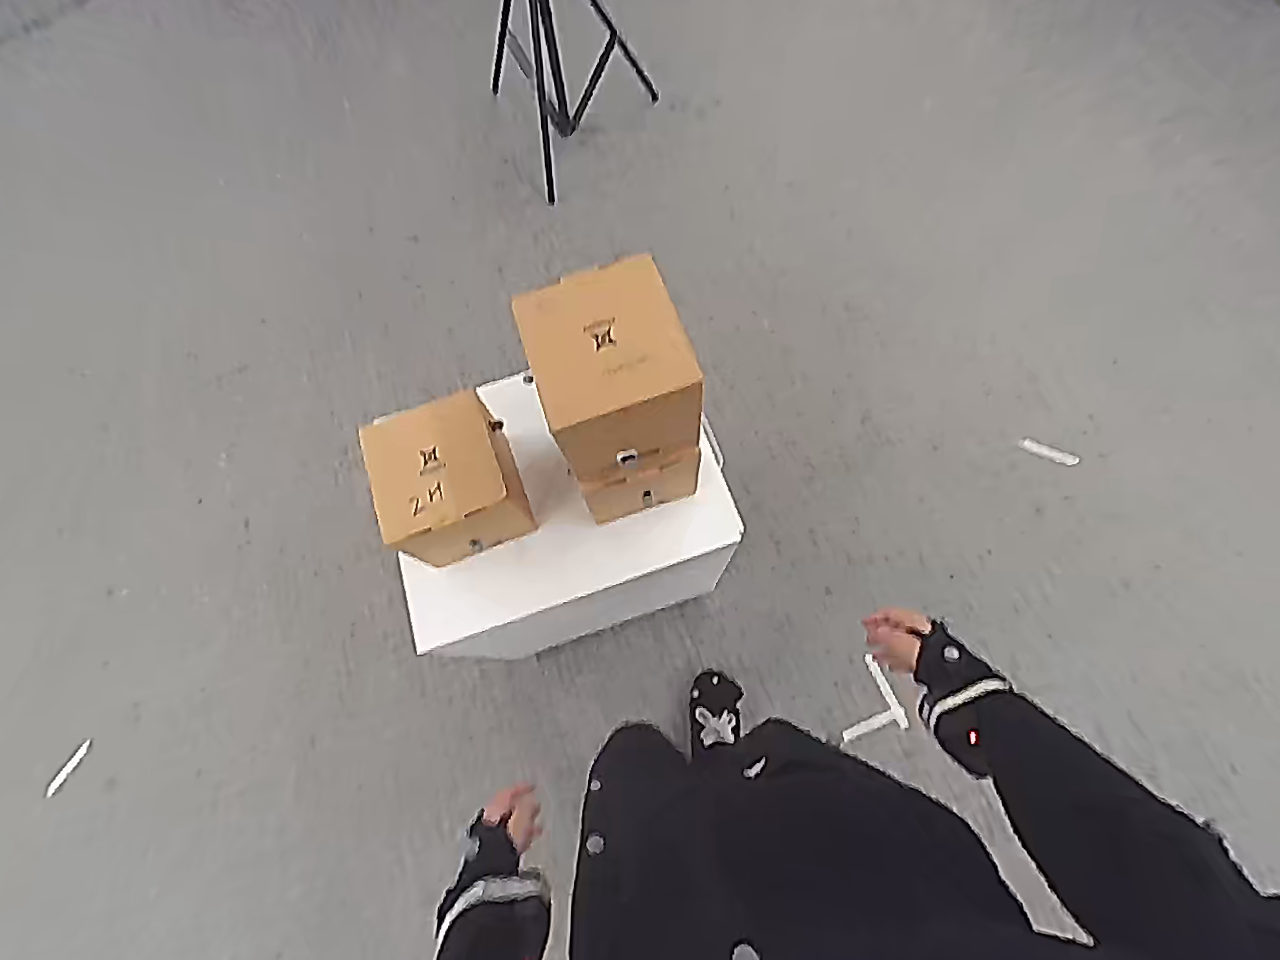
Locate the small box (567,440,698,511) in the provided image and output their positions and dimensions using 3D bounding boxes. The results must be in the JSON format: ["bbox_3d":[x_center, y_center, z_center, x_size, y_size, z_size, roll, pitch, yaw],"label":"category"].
[{"bbox_3d":[-0.020,-0.064,0.790,0.168,0.176,0.179,-18,72,-2],"label":"small box"}]

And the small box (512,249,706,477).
[{"bbox_3d":[-0.032,-0.127,0.639,0.168,0.176,0.179,-20,71,-2],"label":"small box"}]

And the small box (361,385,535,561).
[{"bbox_3d":[-0.267,-0.002,0.780,0.168,0.176,0.179,-21,72,-4],"label":"small box"}]
